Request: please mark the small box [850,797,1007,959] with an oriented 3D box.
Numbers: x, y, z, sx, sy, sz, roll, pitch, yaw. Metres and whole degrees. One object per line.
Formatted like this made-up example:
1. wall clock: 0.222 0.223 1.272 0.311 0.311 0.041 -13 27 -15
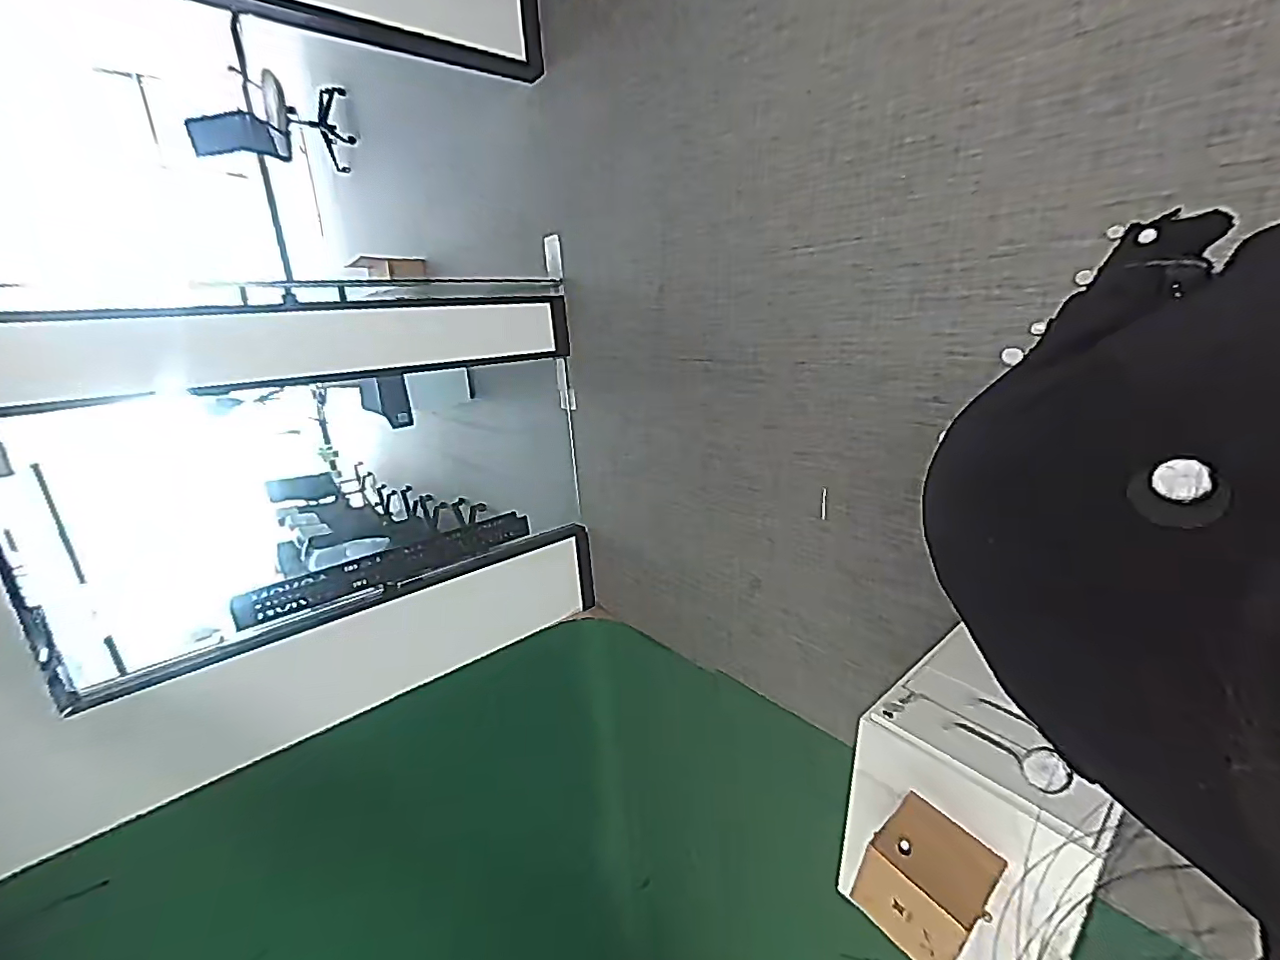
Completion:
1. small box: 0.520 0.717 0.982 0.179 0.176 0.168 29 125 43
